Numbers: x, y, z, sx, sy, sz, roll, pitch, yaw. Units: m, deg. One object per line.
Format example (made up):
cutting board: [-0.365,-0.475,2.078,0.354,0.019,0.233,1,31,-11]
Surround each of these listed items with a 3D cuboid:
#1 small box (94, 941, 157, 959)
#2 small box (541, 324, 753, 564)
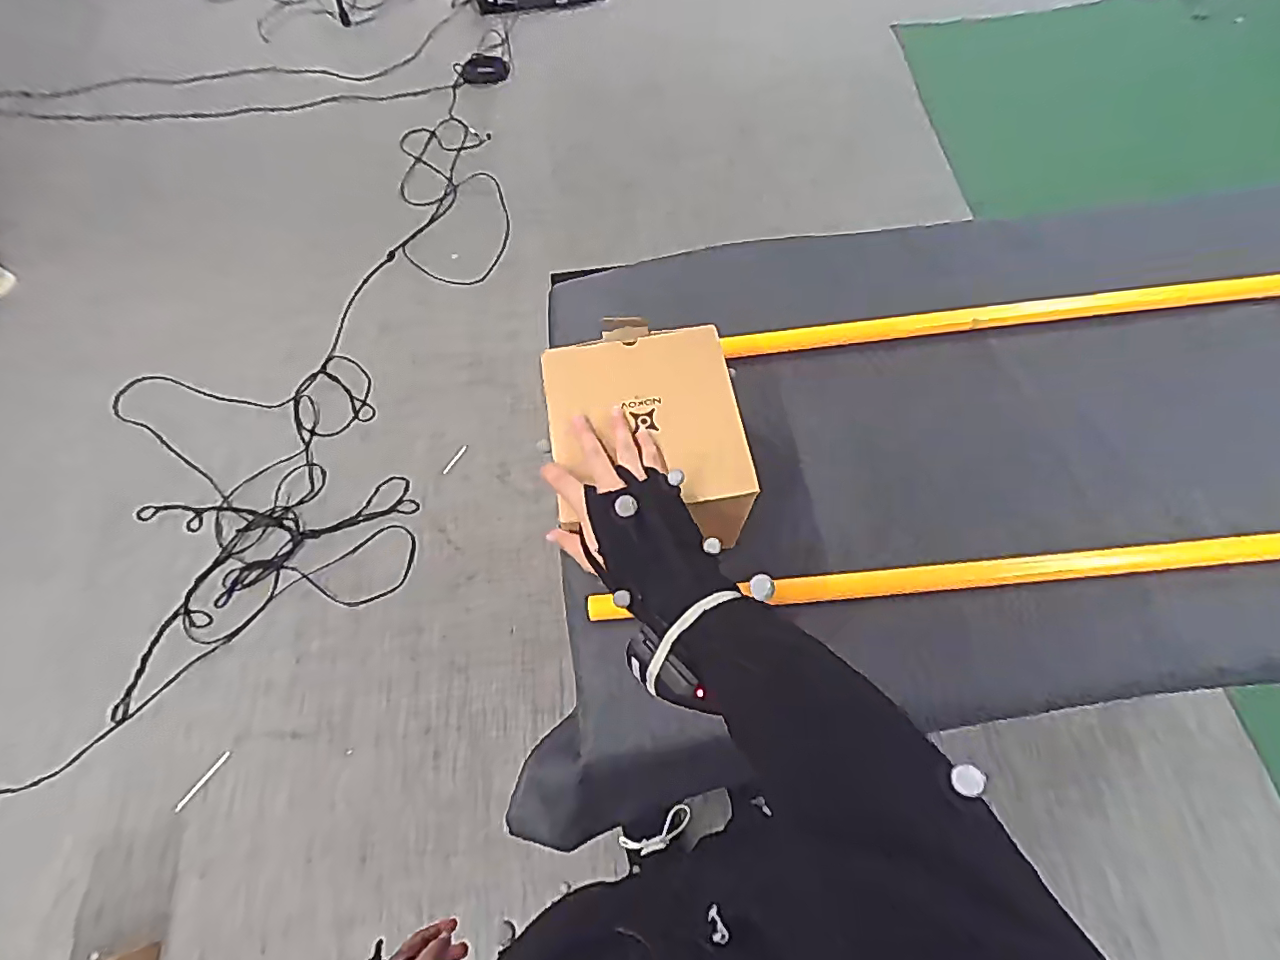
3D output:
small box: [-1.004,0.966,0.946,0.179,0.176,0.168,-19,72,-4]
small box: [0.005,-0.023,0.542,0.168,0.176,0.179,-10,66,-2]
